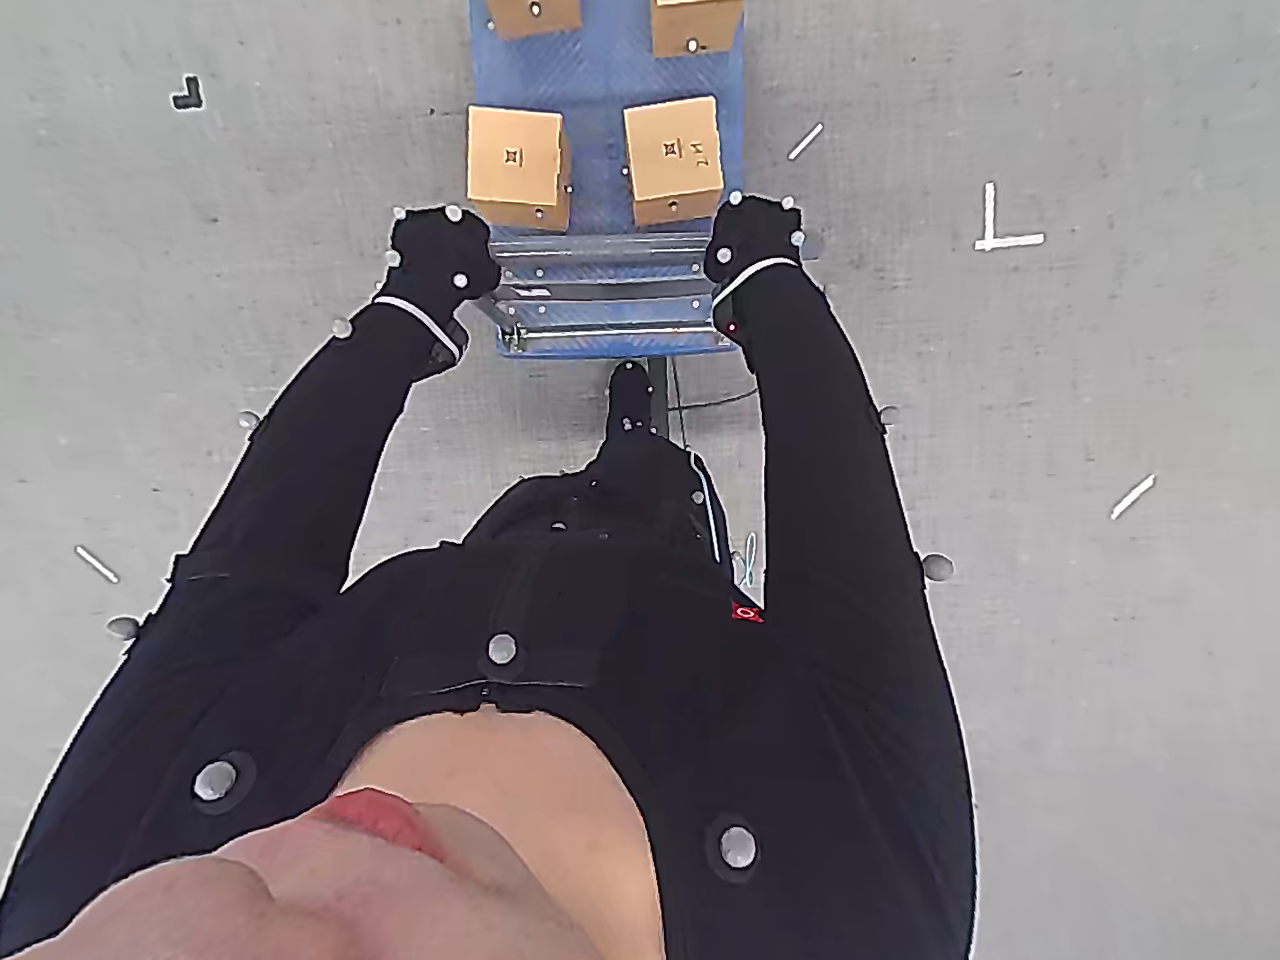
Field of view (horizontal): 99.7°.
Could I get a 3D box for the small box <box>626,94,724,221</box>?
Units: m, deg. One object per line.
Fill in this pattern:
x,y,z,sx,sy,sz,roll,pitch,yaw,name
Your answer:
0.069,-0.651,1.112,0.179,0.176,0.168,-7,100,1,small box

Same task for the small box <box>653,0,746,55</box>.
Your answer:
0.109,-0.982,1.055,0.168,0.176,0.179,-5,101,1,small box

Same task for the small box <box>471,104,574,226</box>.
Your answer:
-0.236,-0.638,1.115,0.179,0.176,0.168,4,99,-3,small box
